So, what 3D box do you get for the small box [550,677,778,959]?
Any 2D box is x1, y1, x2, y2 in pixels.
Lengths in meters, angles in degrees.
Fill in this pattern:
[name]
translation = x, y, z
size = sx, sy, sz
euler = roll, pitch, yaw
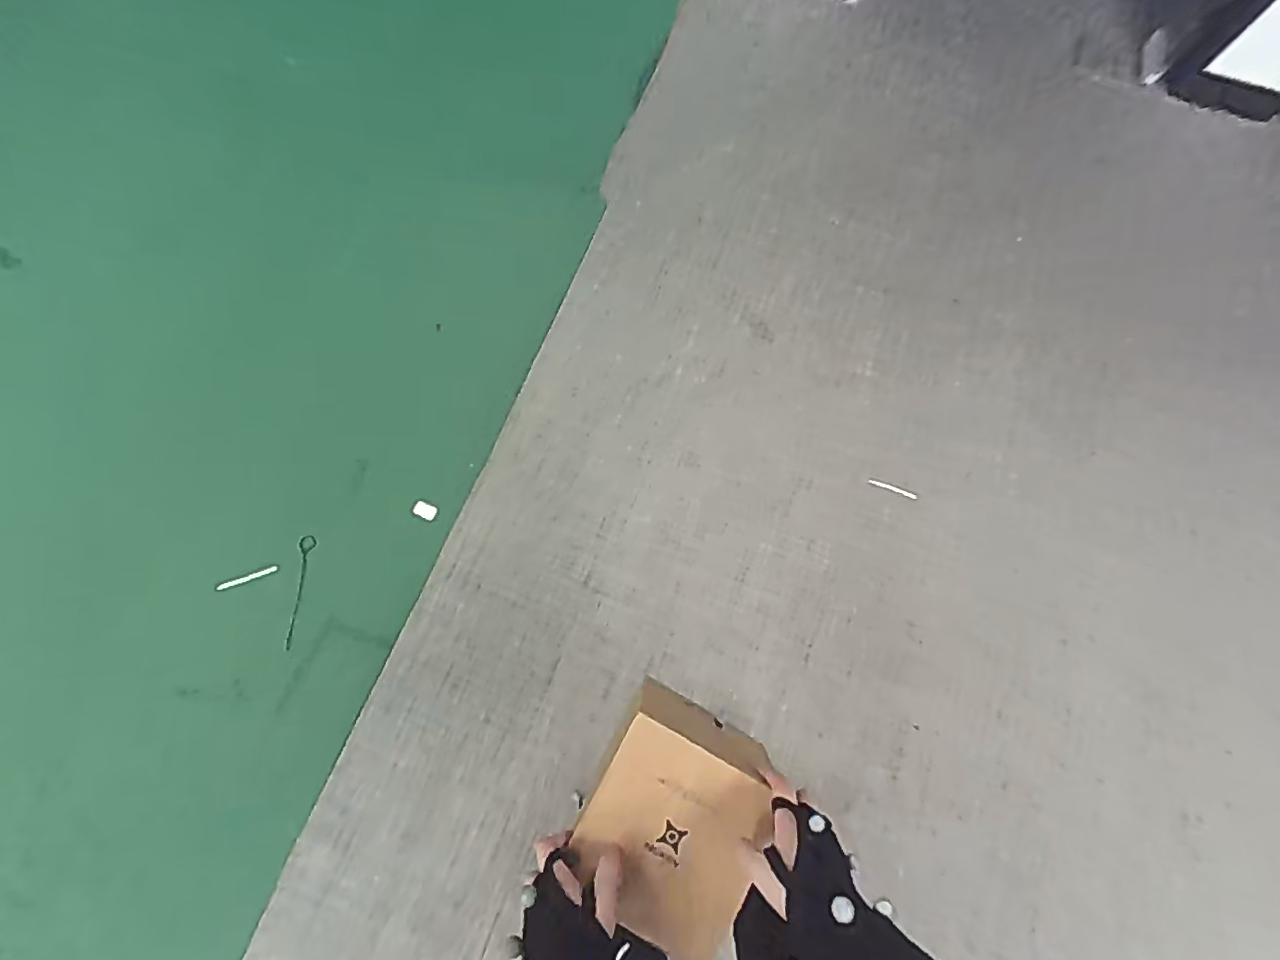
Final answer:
[small box]
translation = 0.028, 0.350, 0.597
size = 0.168, 0.176, 0.179
euler = 28, 85, 6
